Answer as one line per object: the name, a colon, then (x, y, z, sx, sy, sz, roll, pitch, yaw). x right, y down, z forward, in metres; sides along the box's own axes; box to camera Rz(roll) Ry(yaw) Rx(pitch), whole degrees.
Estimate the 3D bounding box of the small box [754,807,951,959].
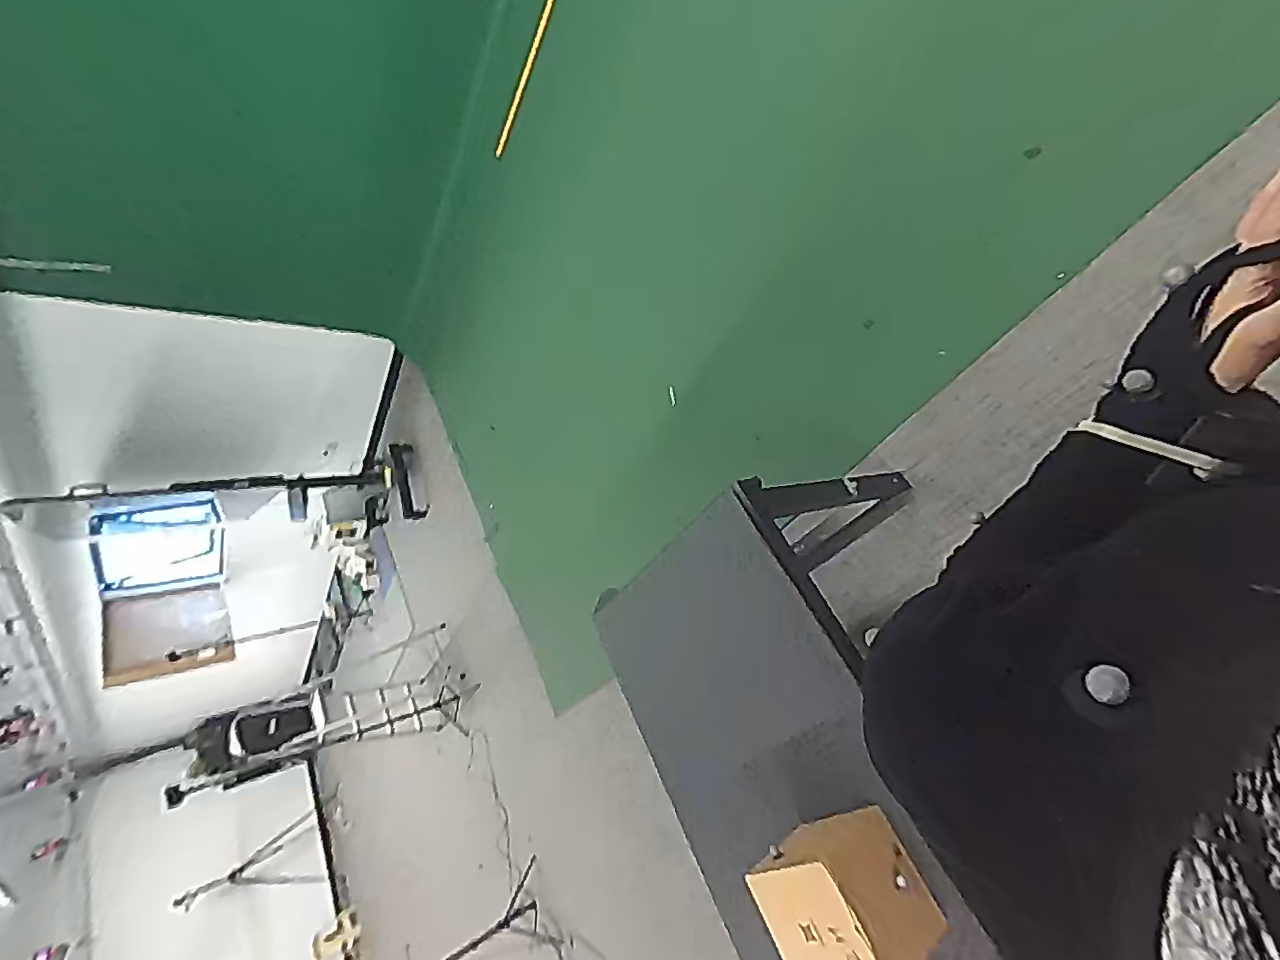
small box: (0.312, 0.619, 0.801, 0.179, 0.176, 0.168, -50, 58, 39)
